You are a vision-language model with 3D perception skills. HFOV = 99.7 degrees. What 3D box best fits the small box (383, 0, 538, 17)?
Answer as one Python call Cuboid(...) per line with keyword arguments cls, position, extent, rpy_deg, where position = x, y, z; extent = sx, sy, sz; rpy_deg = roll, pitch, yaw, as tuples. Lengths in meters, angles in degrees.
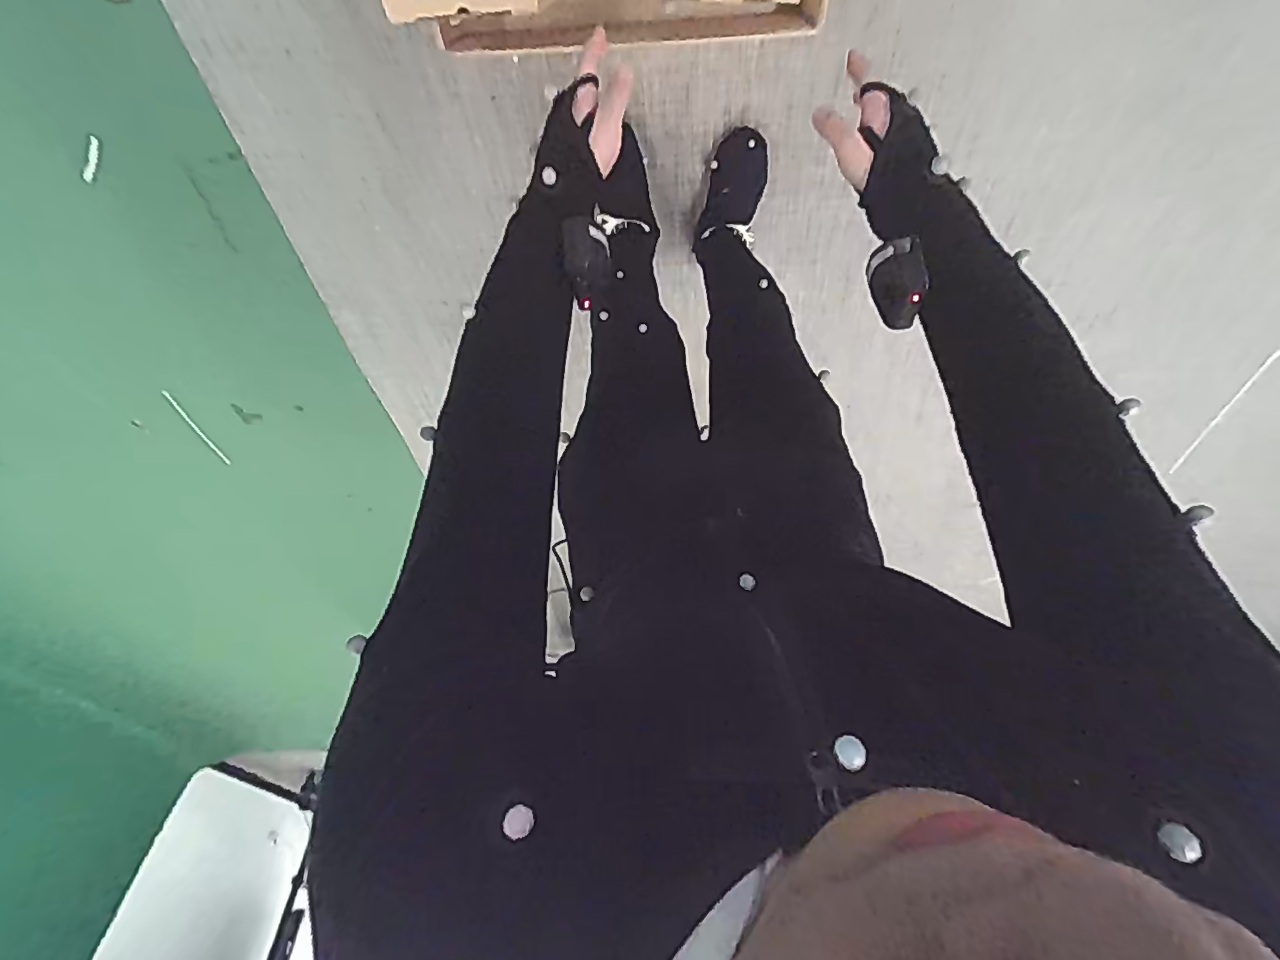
Cuboid(cls="small box", position=(-0.185, -0.602, 0.550), extent=(0.168, 0.176, 0.179), rpy_deg=(-2, 137, 3))
